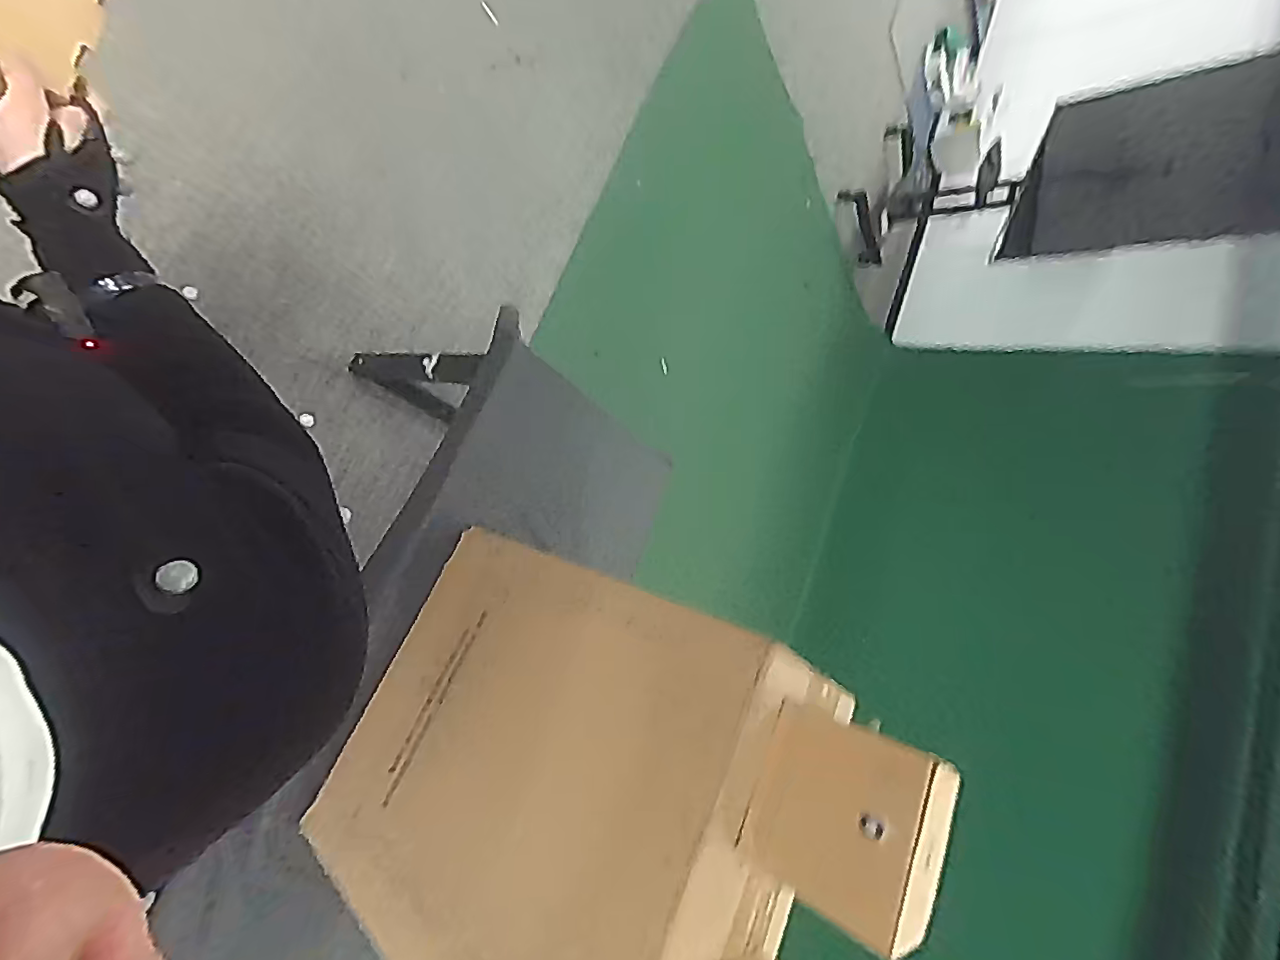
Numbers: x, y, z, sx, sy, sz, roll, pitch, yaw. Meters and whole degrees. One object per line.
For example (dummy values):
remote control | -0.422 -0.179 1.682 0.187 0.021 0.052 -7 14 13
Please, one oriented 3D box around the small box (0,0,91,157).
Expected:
small box | -0.577 -0.385 0.415 0.179 0.176 0.168 23 61 -56

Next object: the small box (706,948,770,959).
small box | 0.124 0.633 0.557 0.179 0.176 0.168 41 69 -45

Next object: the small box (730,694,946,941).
small box | 0.230 0.373 0.626 0.168 0.176 0.179 40 70 -44
